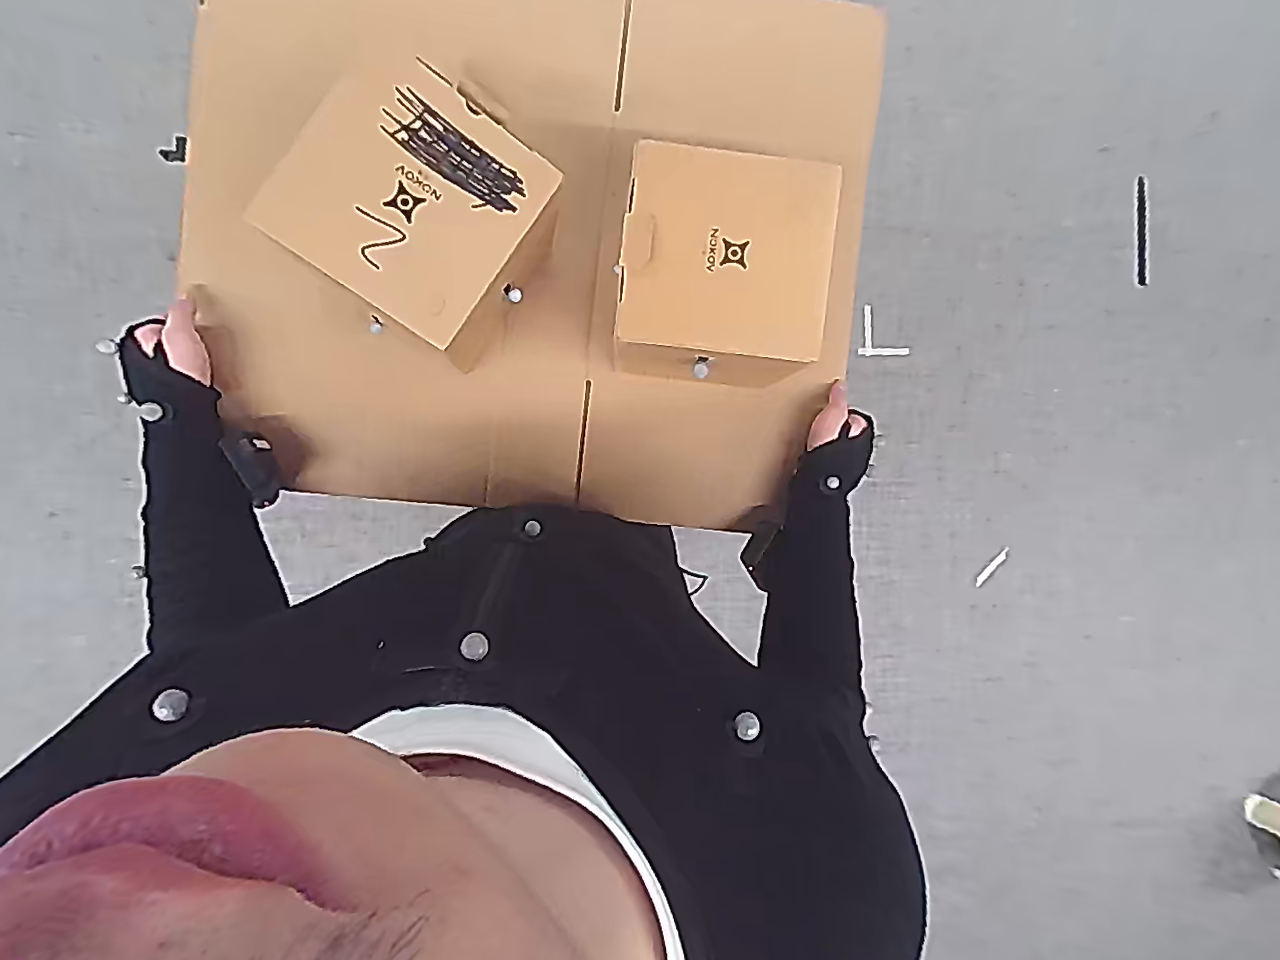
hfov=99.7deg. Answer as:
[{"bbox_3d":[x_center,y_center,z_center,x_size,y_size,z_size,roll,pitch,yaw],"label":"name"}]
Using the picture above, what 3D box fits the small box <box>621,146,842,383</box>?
[{"bbox_3d":[0.077,-0.197,0.545,0.179,0.176,0.168,7,92,-2],"label":"small box"}]
